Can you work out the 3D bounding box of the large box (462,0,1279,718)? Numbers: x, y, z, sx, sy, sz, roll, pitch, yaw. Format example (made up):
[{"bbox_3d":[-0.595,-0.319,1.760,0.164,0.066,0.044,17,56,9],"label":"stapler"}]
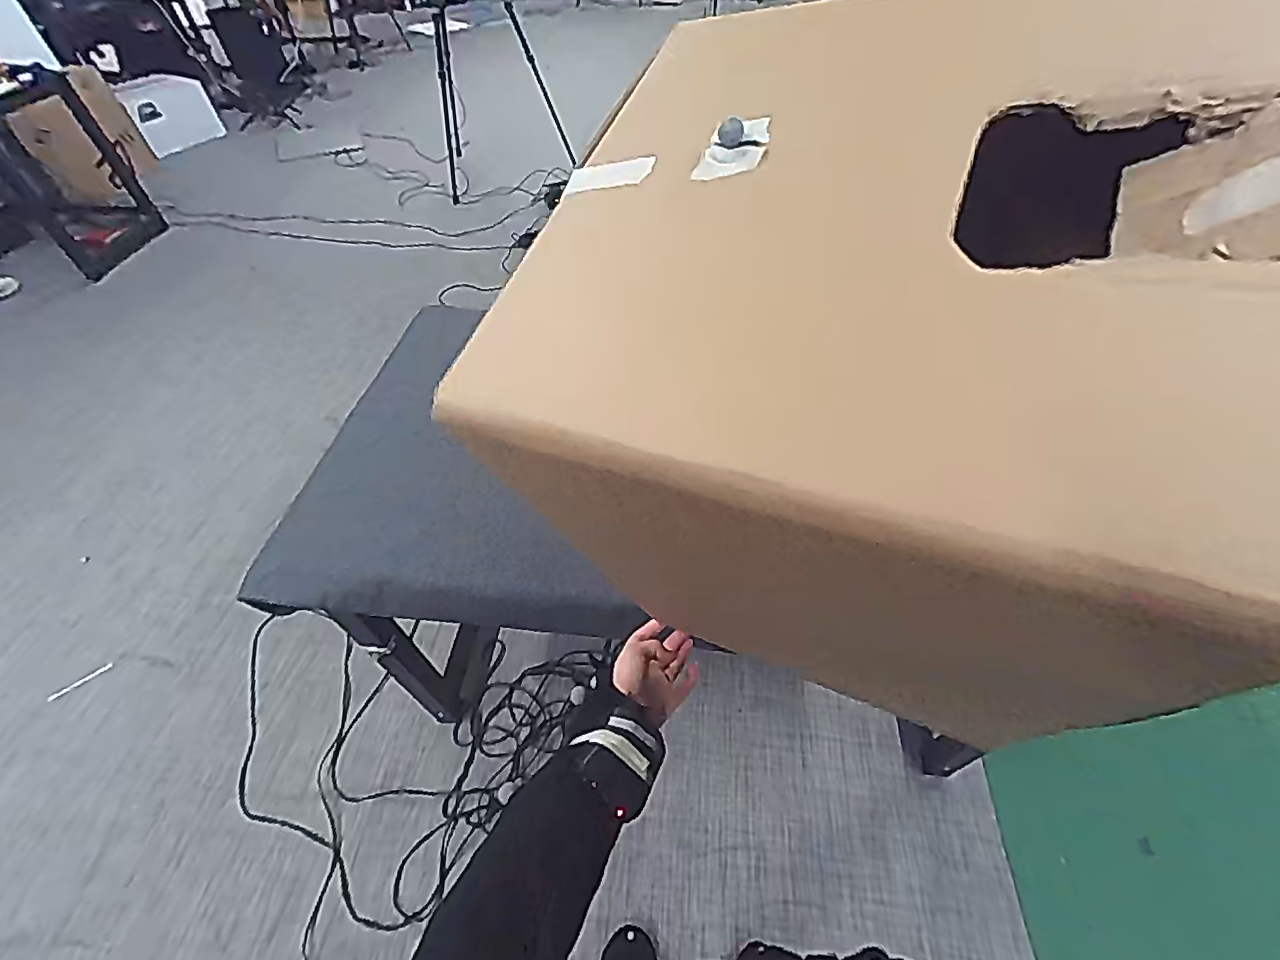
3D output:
[{"bbox_3d":[0.149,-0.041,0.416,0.320,0.408,0.320,15,69,25],"label":"large box"}]
